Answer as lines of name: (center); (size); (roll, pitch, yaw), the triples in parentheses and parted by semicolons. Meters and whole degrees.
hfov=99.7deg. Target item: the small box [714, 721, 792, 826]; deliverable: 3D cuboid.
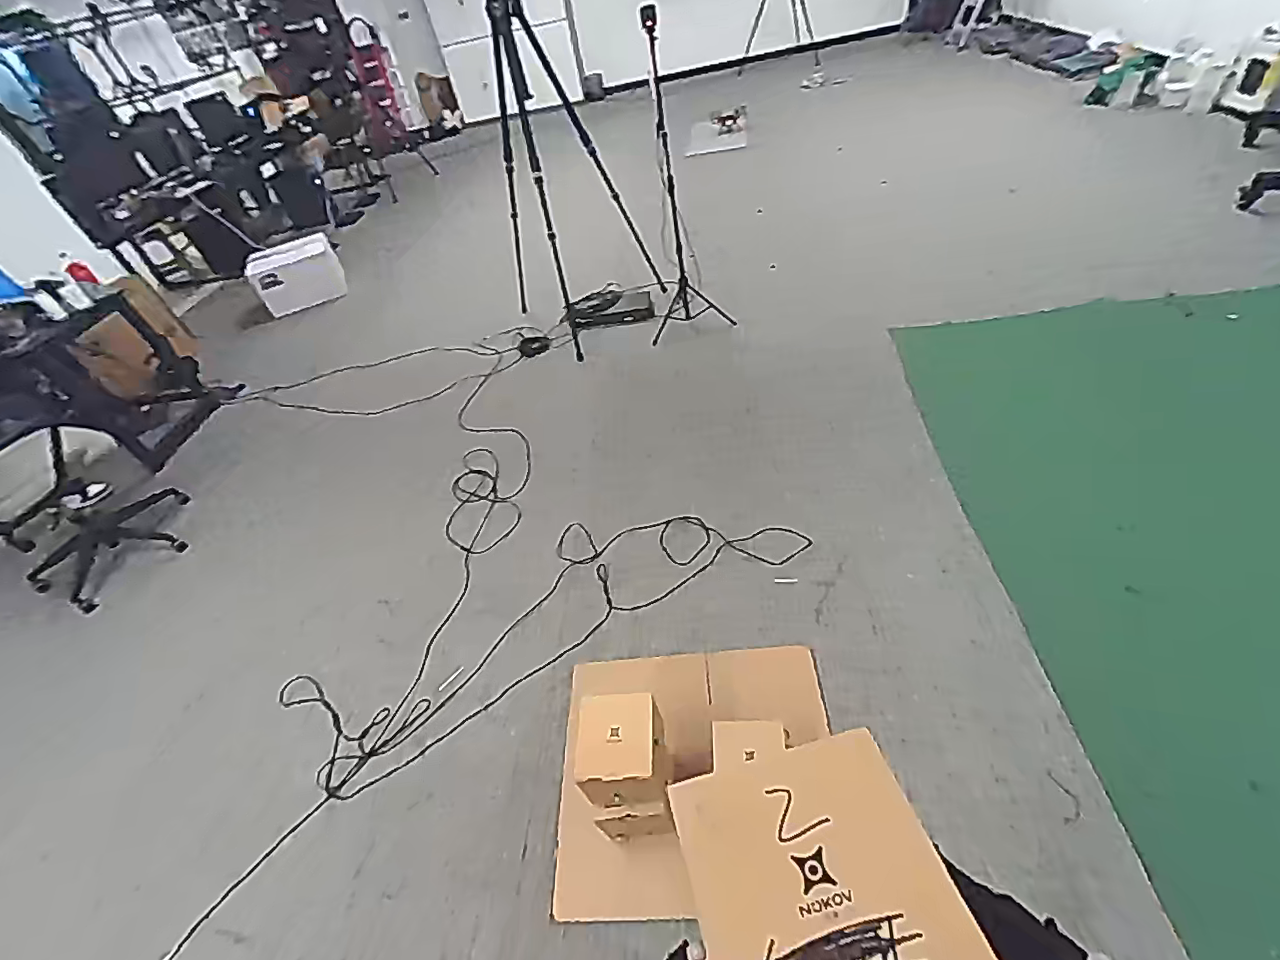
small box: (0.263, 0.687, 1.269); (0.168, 0.176, 0.179); (-5, 45, 11)

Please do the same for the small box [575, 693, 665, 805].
small box: (-0.037, 0.598, 1.200); (0.168, 0.176, 0.179); (-7, 44, 8)

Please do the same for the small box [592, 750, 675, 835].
small box: (-0.012, 0.732, 1.293); (0.168, 0.176, 0.179); (-9, 44, 6)
